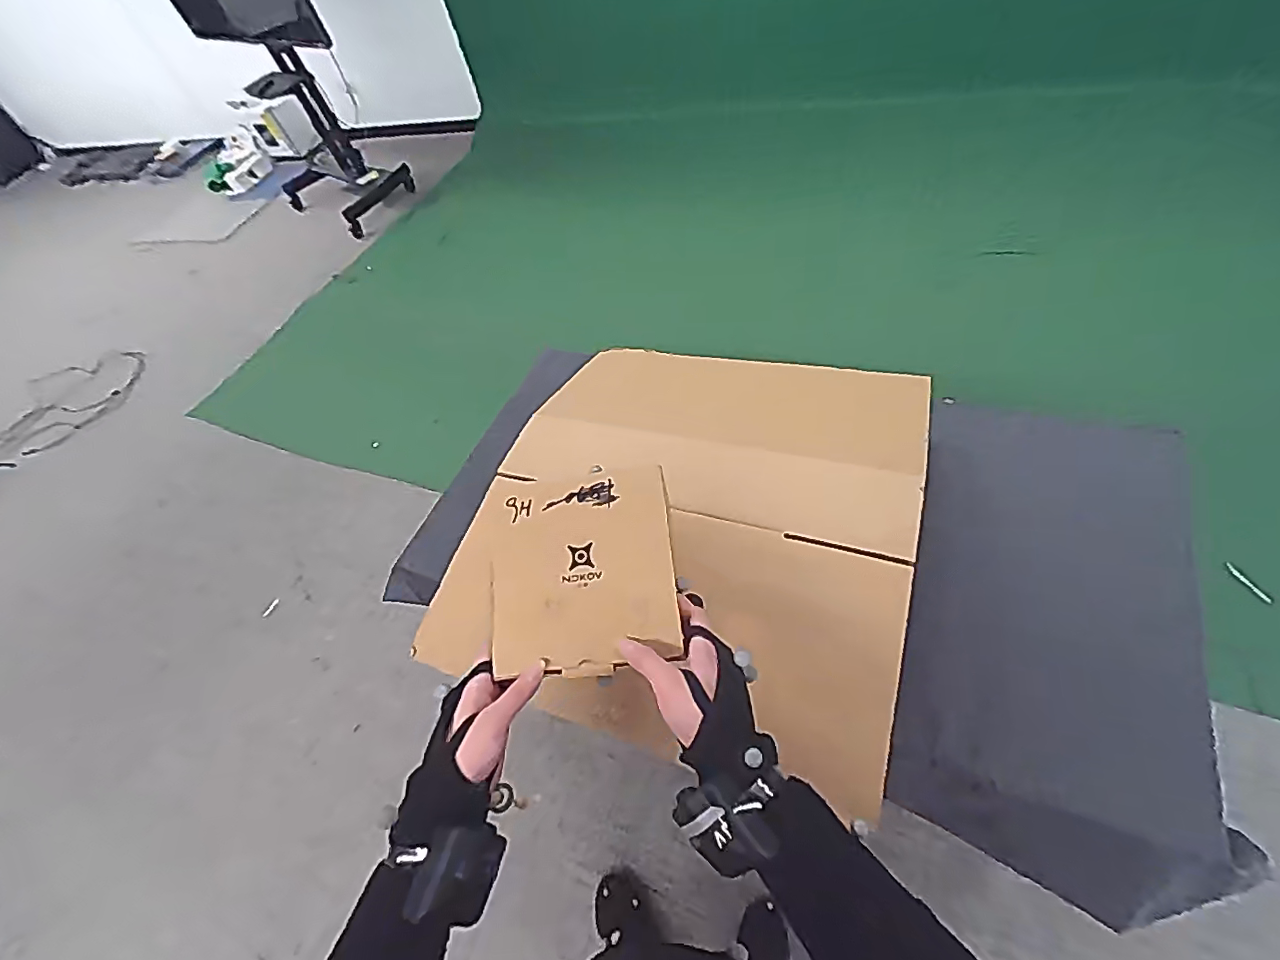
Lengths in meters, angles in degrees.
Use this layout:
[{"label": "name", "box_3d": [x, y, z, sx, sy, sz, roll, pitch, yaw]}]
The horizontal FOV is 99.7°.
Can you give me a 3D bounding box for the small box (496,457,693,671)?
[{"label": "small box", "box_3d": [-0.039, 0.096, 0.566, 0.168, 0.176, 0.179, -10, 70, 3]}]
